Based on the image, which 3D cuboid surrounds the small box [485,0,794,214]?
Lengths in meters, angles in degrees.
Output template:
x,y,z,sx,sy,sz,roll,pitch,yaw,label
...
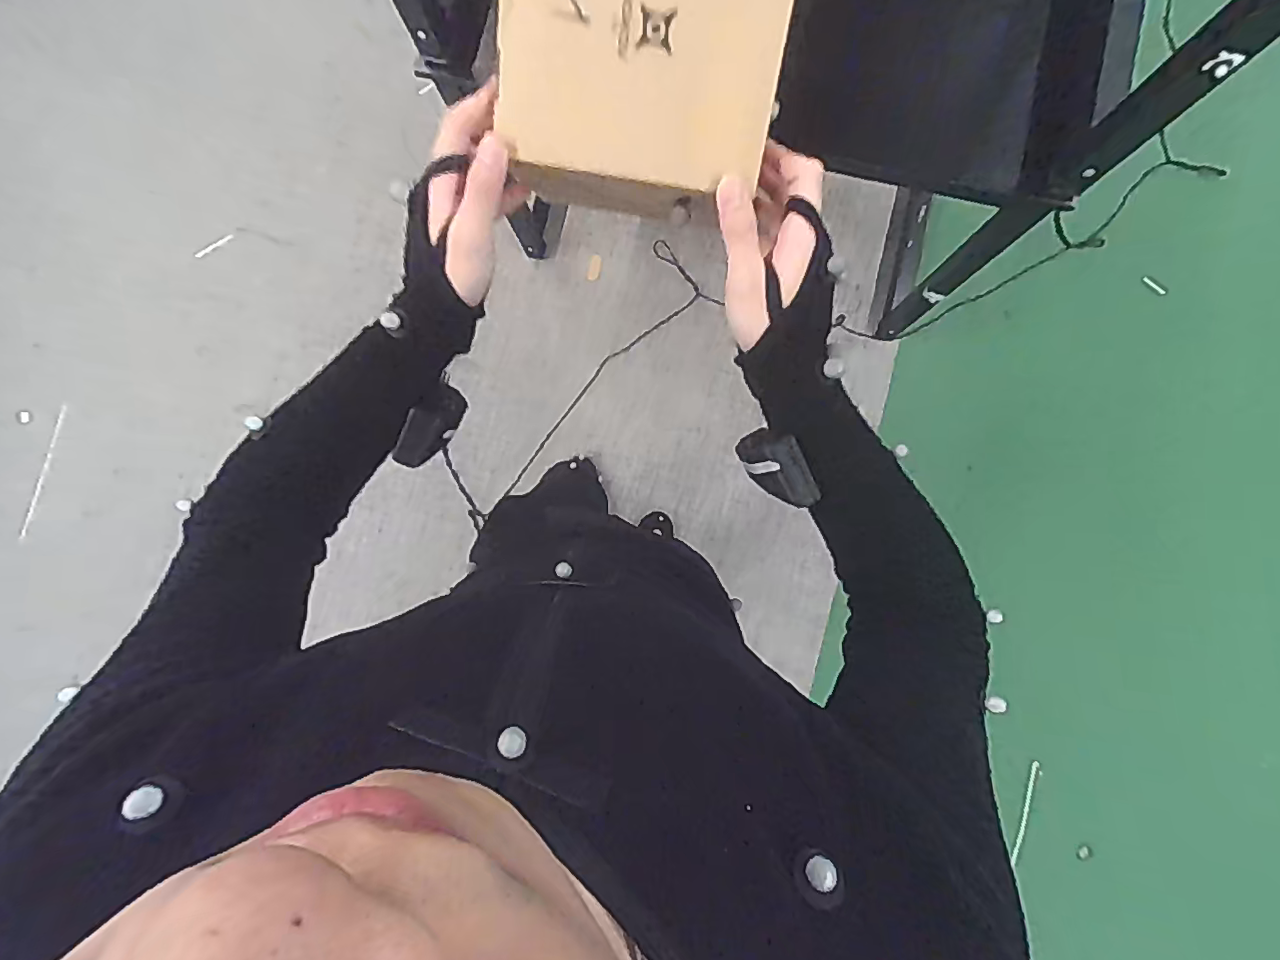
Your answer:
x,y,z,sx,sy,sz,roll,pitch,yaw,label
0.004,-0.302,0.391,0.179,0.176,0.168,10,108,0,small box
